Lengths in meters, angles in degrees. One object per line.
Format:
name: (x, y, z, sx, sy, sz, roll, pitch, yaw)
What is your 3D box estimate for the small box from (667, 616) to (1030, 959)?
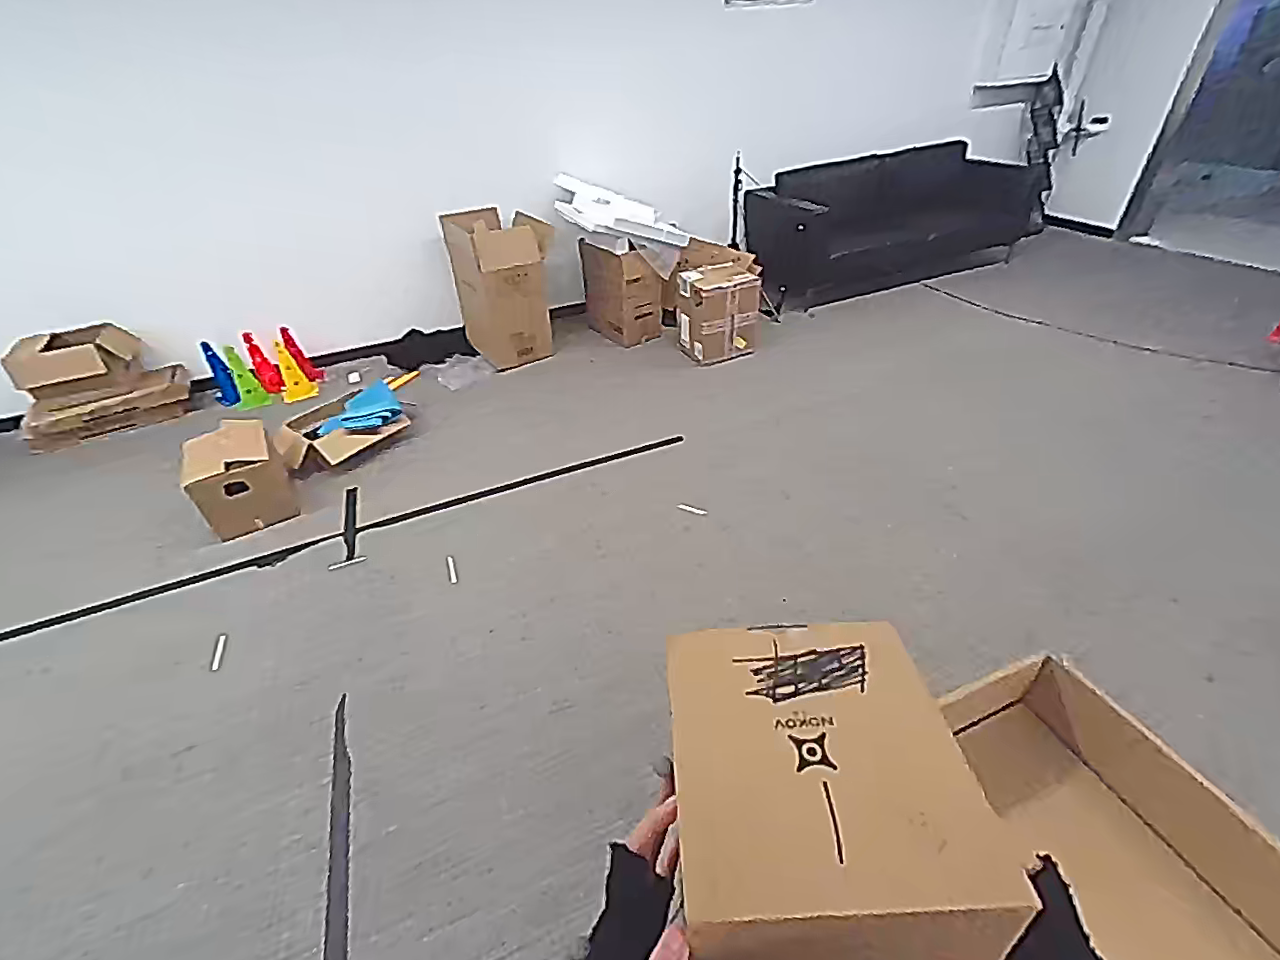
small box: (0.104, 0.217, 0.364, 0.168, 0.176, 0.179, -4, 32, 2)
